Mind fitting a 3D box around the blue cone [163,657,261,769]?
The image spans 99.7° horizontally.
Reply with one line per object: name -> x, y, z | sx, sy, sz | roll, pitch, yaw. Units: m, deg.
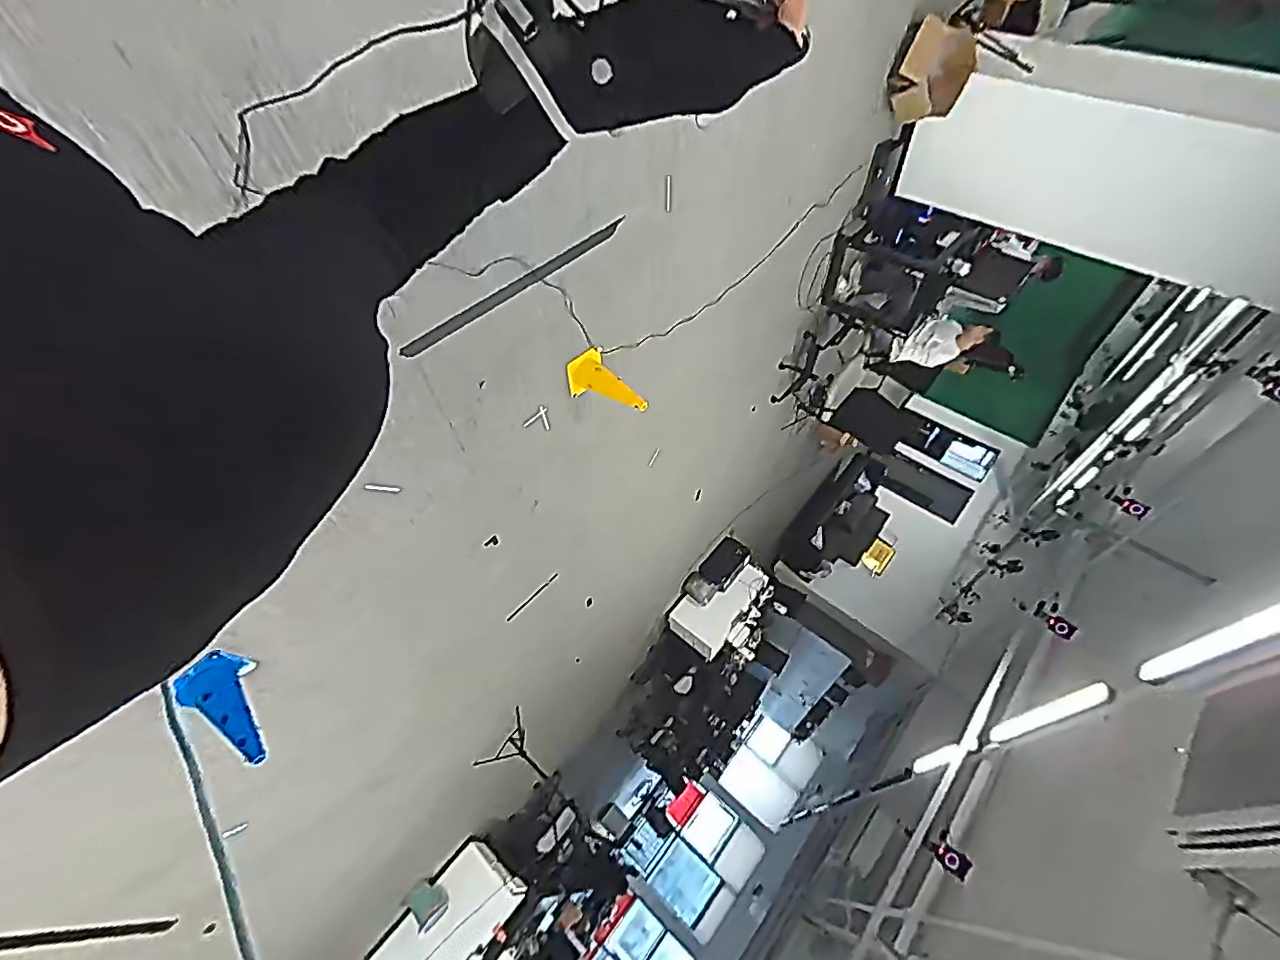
blue cone -> -1.270, 0.745, 1.676 | 0.193, 0.380, 0.192 | -46, 153, -20
